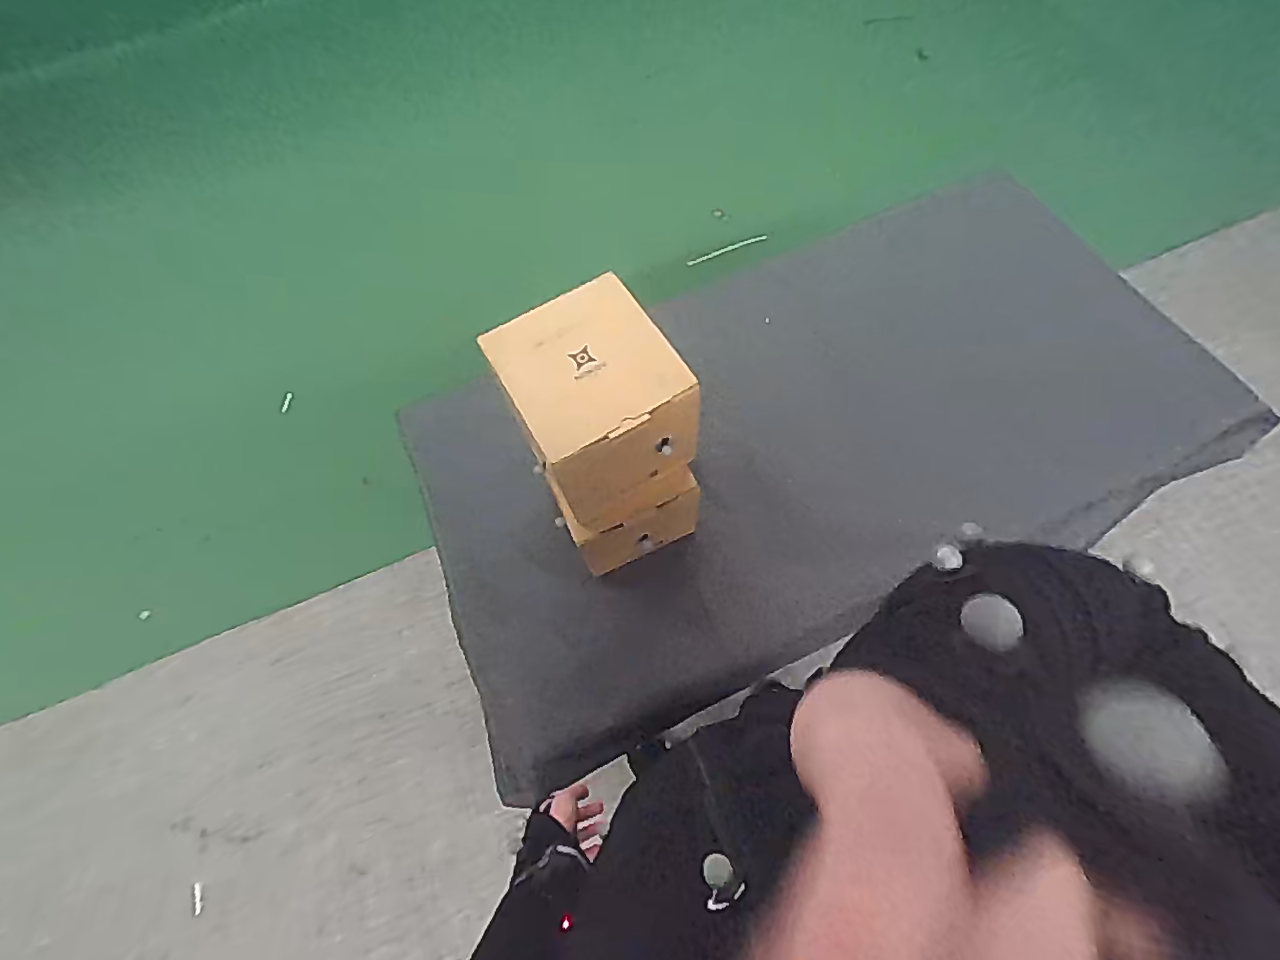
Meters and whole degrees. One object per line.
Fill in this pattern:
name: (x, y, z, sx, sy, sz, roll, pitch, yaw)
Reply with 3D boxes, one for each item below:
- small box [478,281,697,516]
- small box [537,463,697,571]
small box: (-0.051, -0.078, 0.611, 0.168, 0.176, 0.179, -30, 67, -11)
small box: (-0.034, 0.011, 0.748, 0.168, 0.176, 0.179, -24, 68, -8)
